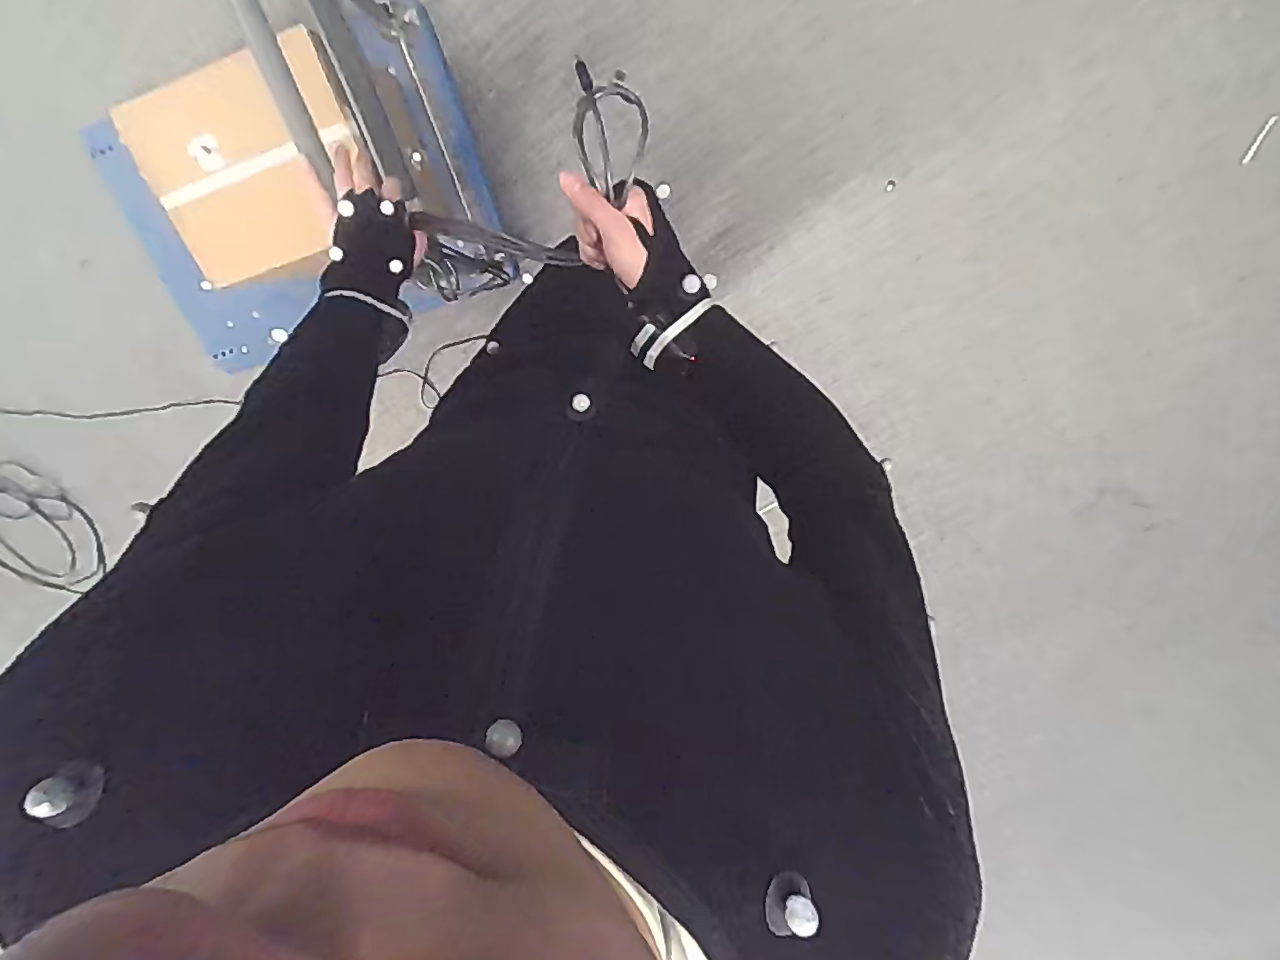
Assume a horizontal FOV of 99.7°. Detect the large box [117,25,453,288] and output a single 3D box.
[{"bbox_3d":[-0.670,-0.619,1.096,0.408,0.320,0.320,-13,113,10],"label":"large box"}]
